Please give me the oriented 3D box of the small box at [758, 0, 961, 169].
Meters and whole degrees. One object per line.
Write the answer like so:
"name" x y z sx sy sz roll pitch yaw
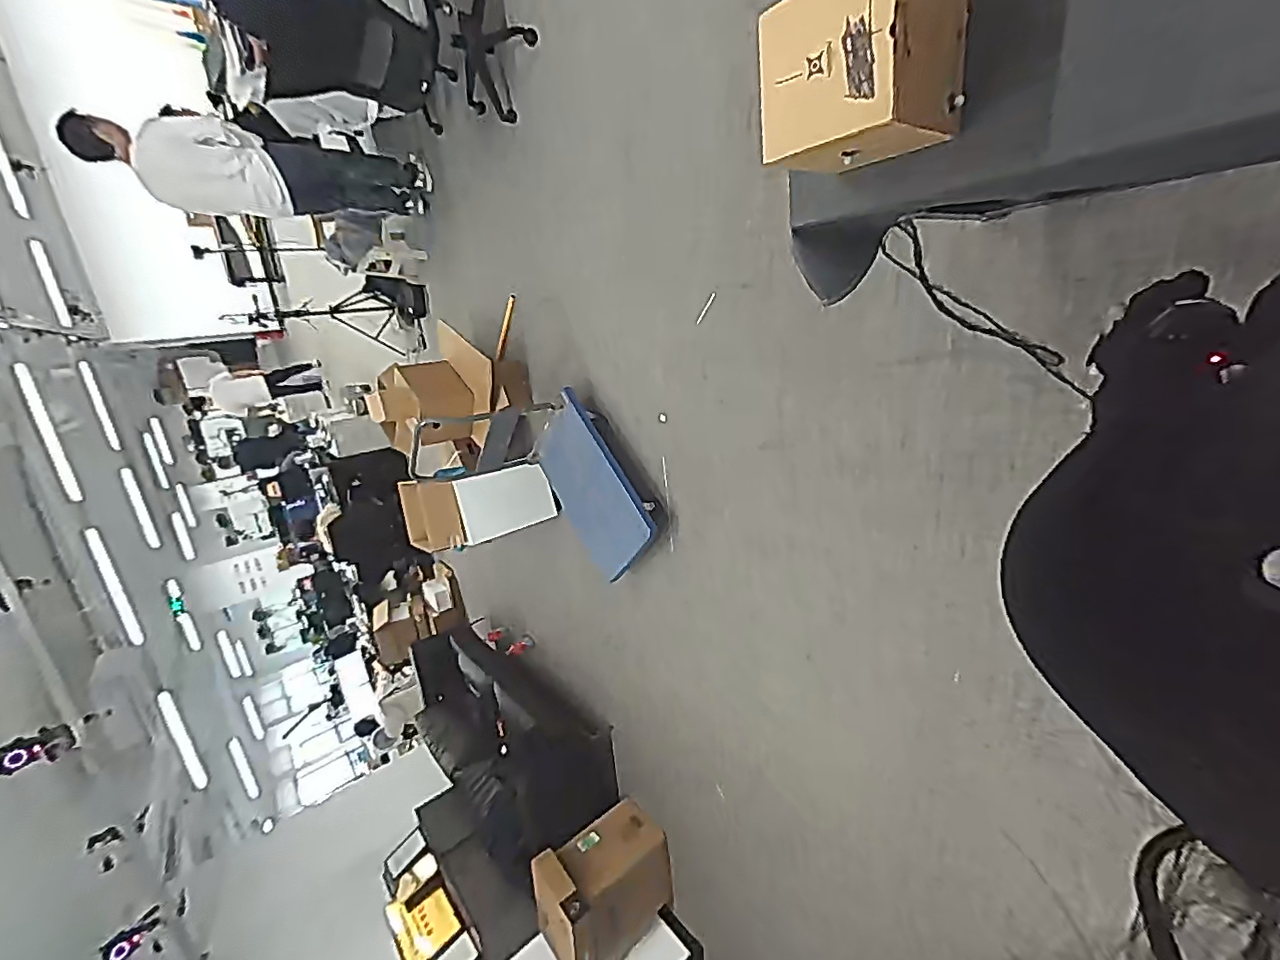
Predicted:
"small box" 0.268 -0.498 0.664 0.179 0.176 0.168 14 116 49
